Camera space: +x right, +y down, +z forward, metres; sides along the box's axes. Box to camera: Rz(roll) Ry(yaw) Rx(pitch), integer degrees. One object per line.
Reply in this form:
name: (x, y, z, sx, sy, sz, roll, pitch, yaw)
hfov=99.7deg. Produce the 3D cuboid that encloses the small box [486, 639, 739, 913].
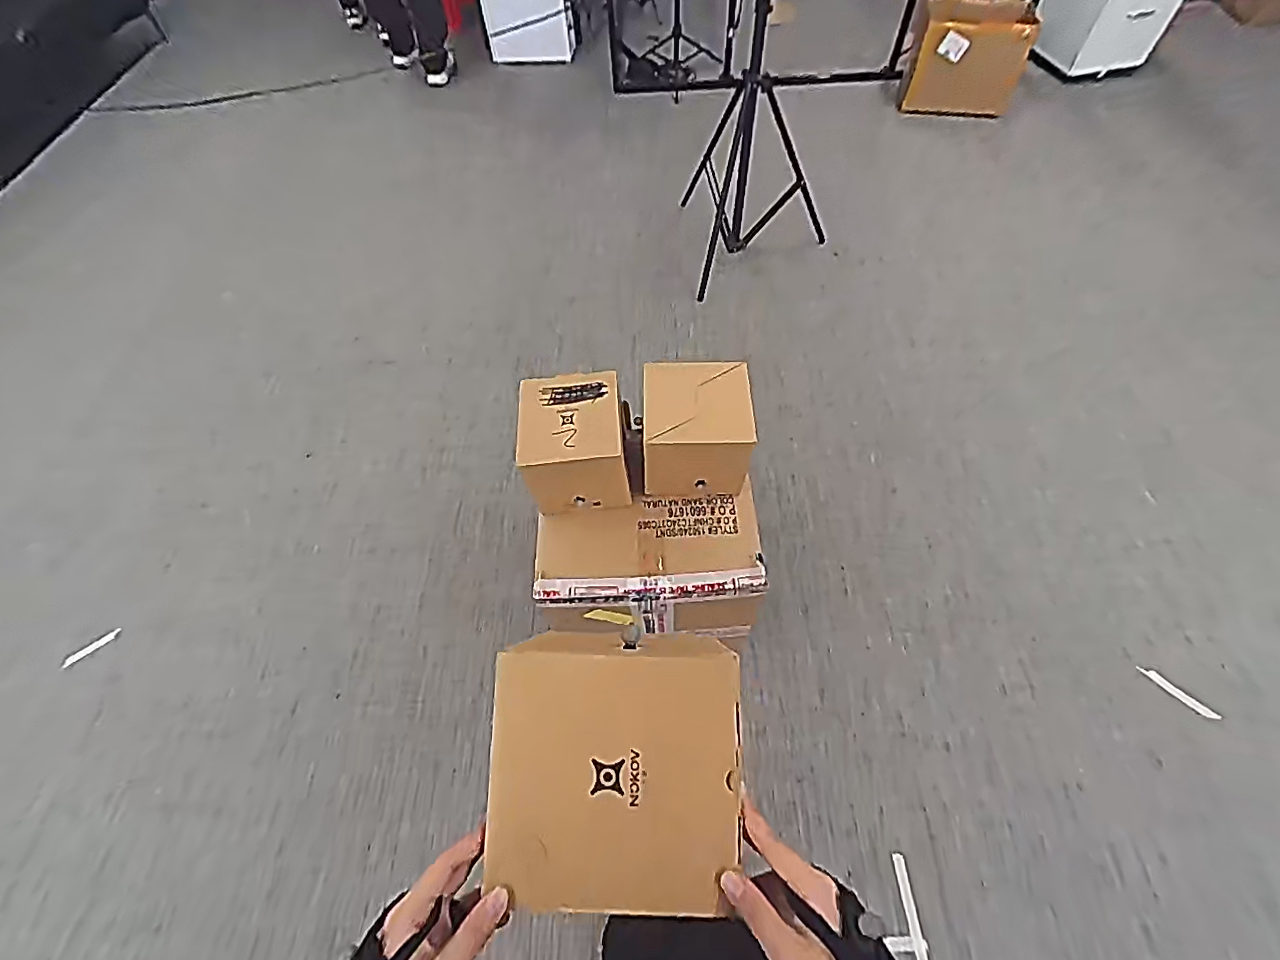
small box: (-0.016, 0.229, 0.462, 0.179, 0.176, 0.168, 1, 78, 0)
